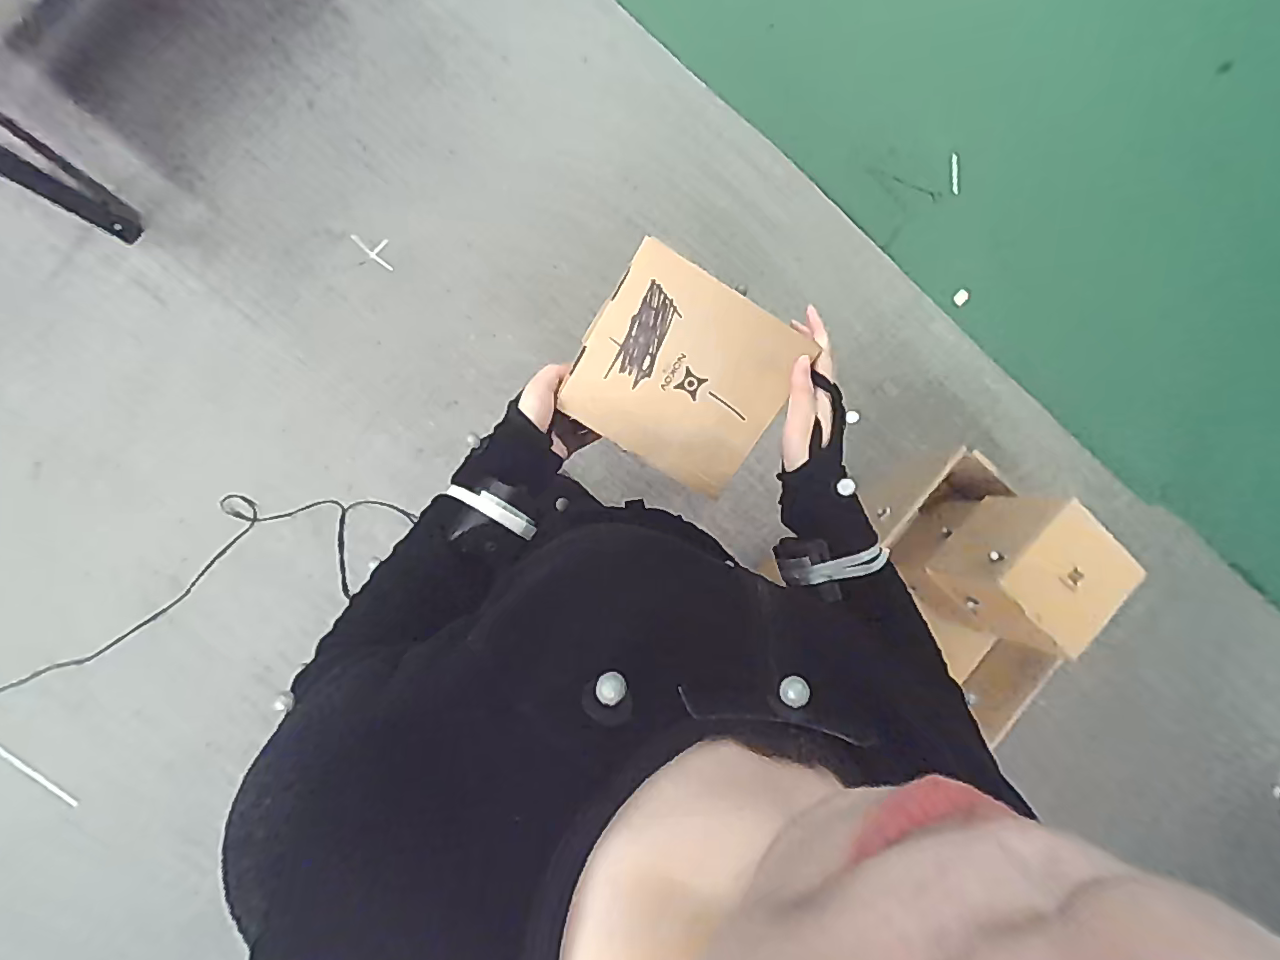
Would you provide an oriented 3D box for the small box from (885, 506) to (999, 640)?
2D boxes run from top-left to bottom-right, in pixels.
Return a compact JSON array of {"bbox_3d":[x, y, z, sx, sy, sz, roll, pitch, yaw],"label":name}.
[{"bbox_3d":[0.604,0.161,1.012,0.168,0.176,0.179,44,86,-3],"label":"small box"}]

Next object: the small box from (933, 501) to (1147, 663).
[{"bbox_3d":[0.611,0.146,0.850,0.168,0.176,0.179,45,86,-3],"label":"small box"}]
